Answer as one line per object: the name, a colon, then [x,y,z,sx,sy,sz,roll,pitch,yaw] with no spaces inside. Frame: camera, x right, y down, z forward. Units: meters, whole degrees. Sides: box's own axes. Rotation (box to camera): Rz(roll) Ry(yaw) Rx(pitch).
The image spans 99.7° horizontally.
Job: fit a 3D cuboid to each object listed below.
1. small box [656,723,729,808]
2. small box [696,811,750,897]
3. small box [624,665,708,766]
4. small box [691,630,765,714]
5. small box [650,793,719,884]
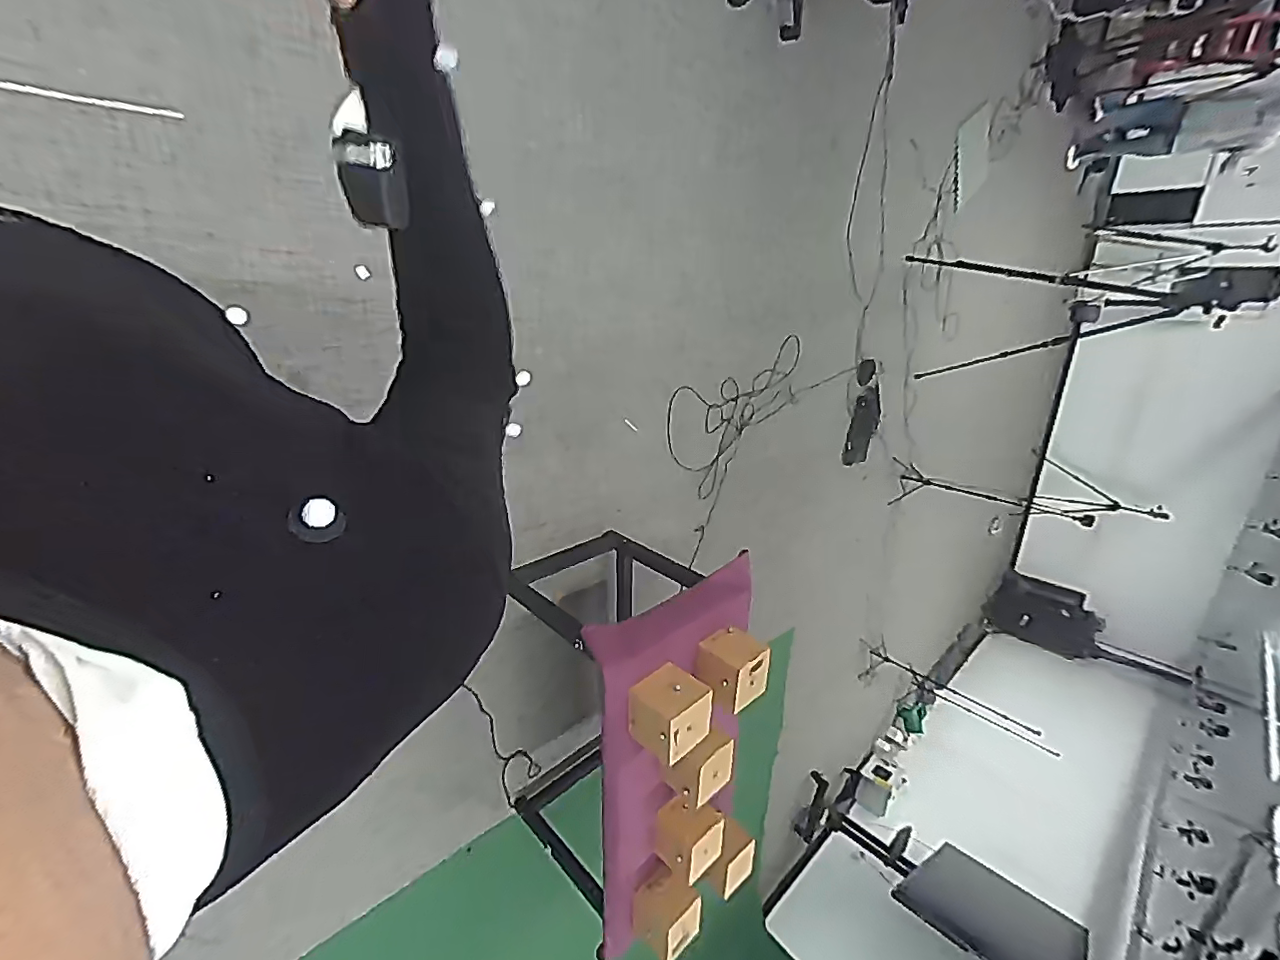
small box: [0.165,0.895,1.745,0.168,0.176,0.179,-15,116,-42]
small box: [0.299,1.431,2.082,0.168,0.176,0.179,-13,113,-41]
small box: [0.073,0.669,1.563,0.179,0.176,0.168,-19,118,-42]
small box: [0.283,0.610,1.756,0.168,0.176,0.179,-15,116,-41]
small box: [0.147,1.208,1.849,0.168,0.176,0.179,-15,114,-41]
